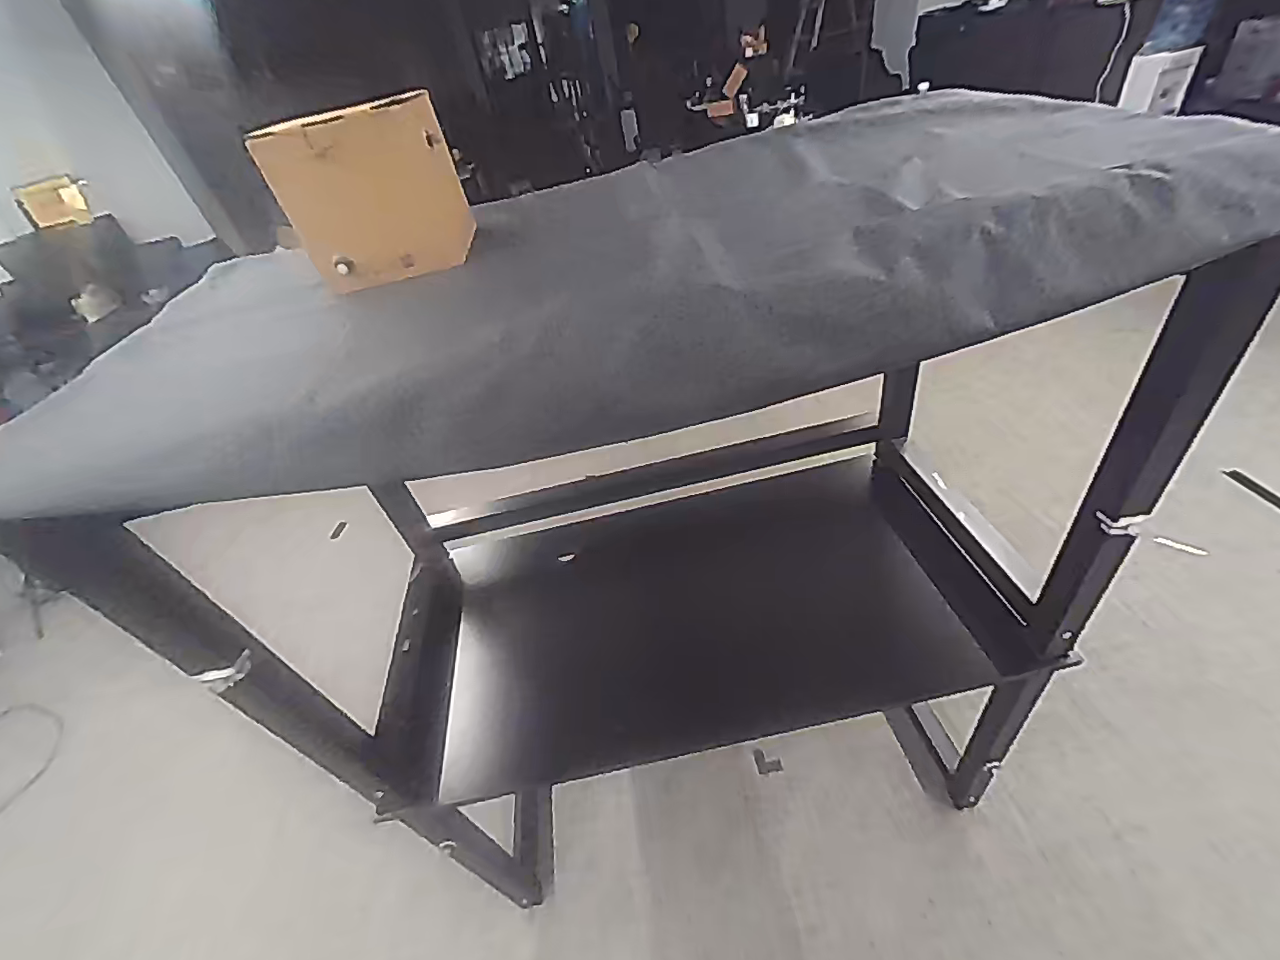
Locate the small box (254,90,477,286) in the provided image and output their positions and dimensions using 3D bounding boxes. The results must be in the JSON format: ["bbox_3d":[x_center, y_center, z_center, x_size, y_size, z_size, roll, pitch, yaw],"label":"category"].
[{"bbox_3d":[-0.314,-0.355,0.666,0.168,0.176,0.179,-13,39,1],"label":"small box"}]
